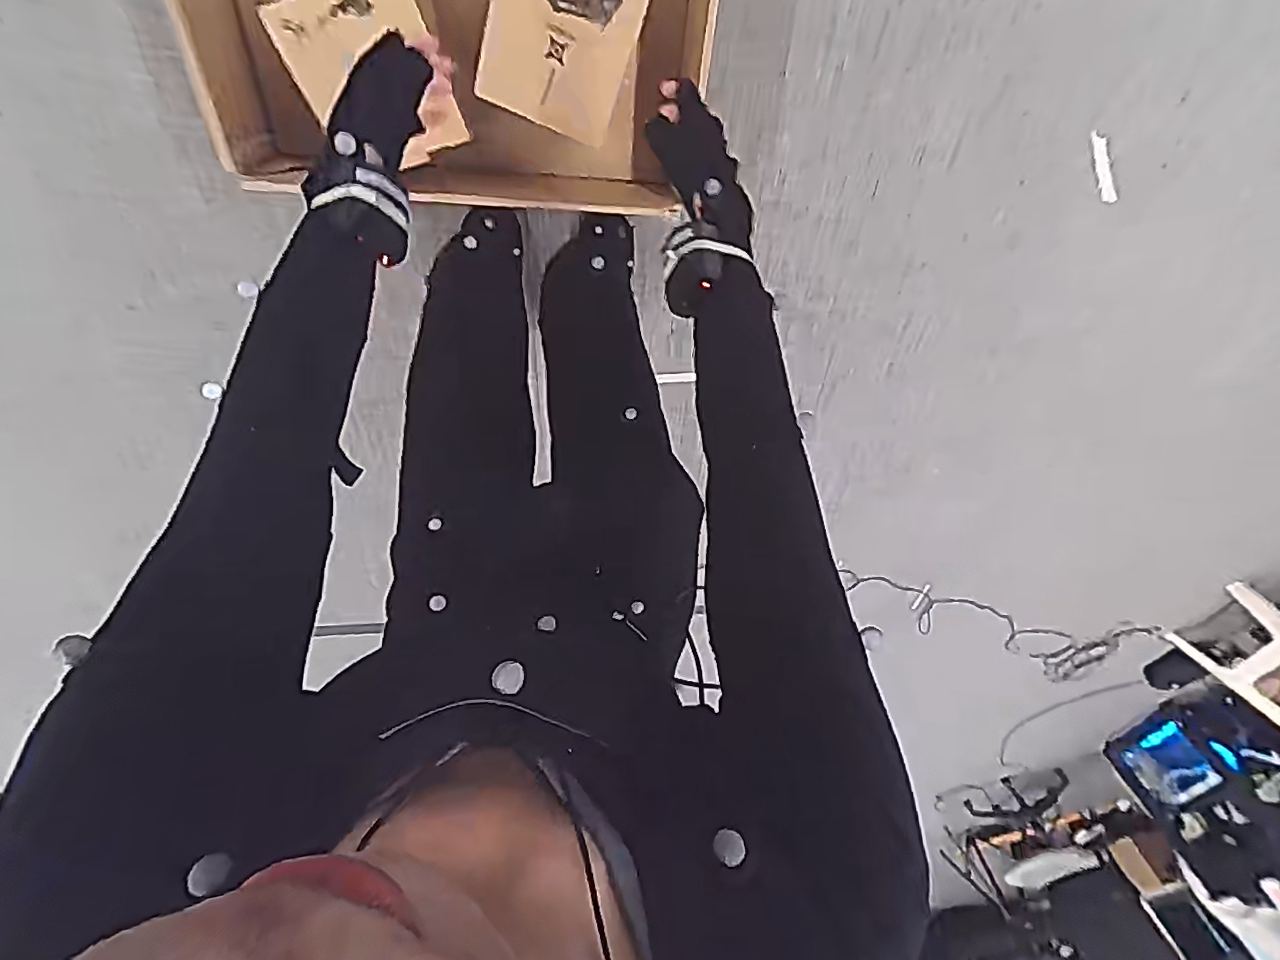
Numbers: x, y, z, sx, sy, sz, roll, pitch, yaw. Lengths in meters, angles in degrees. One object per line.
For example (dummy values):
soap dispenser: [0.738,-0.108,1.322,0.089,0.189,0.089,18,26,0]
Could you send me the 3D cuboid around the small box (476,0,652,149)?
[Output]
small box: [-0.099,-0.561,0.684,0.168,0.176,0.179,15,127,-19]
